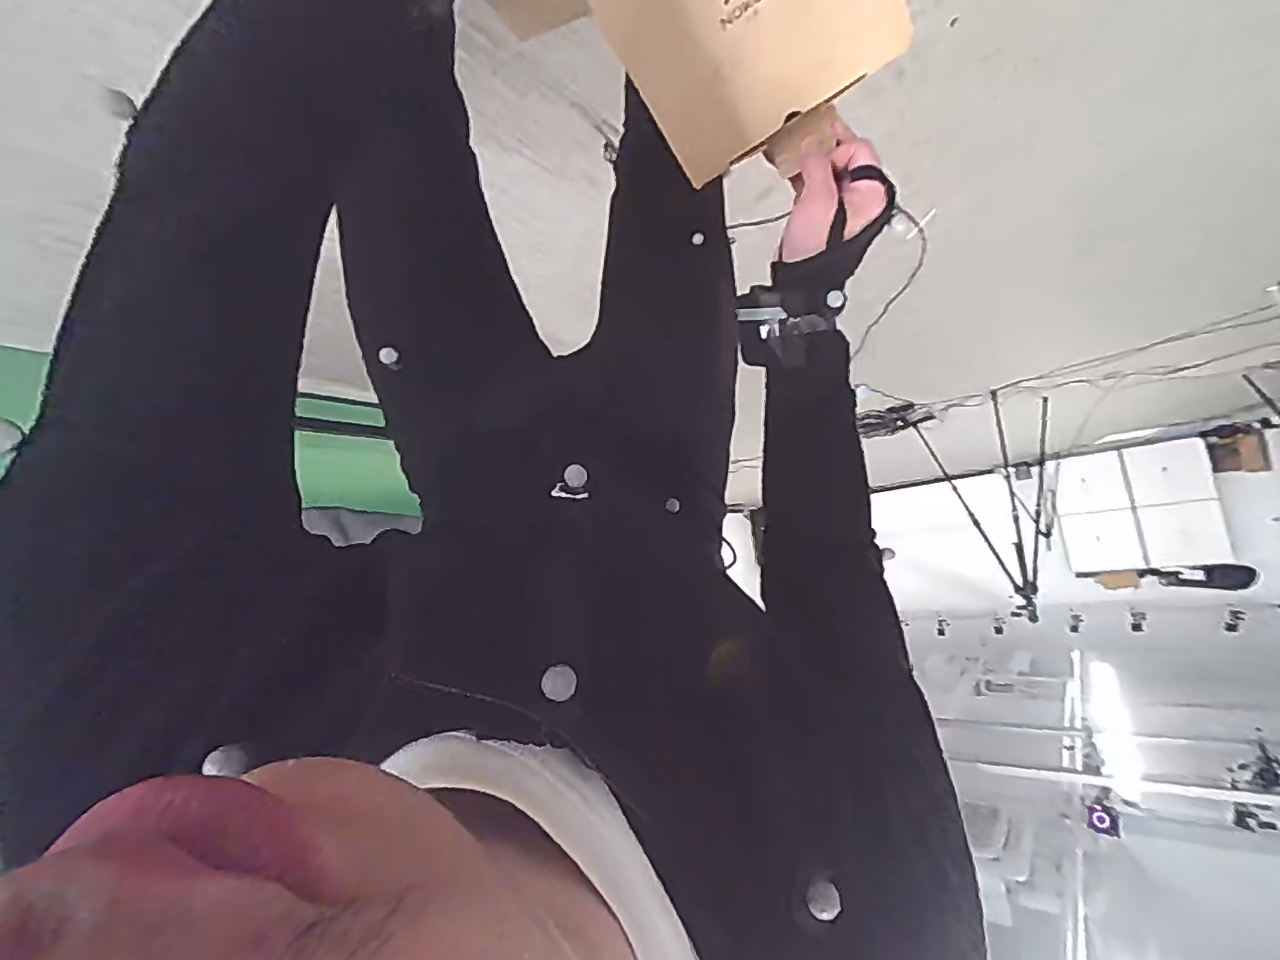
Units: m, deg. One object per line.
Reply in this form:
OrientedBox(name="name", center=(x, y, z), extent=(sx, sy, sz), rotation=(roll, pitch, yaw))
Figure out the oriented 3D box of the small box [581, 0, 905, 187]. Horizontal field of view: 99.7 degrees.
OrientedBox(name="small box", center=(0.069, -0.368, 0.396), extent=(0.168, 0.176, 0.179), rotation=(-23, 129, 31))
